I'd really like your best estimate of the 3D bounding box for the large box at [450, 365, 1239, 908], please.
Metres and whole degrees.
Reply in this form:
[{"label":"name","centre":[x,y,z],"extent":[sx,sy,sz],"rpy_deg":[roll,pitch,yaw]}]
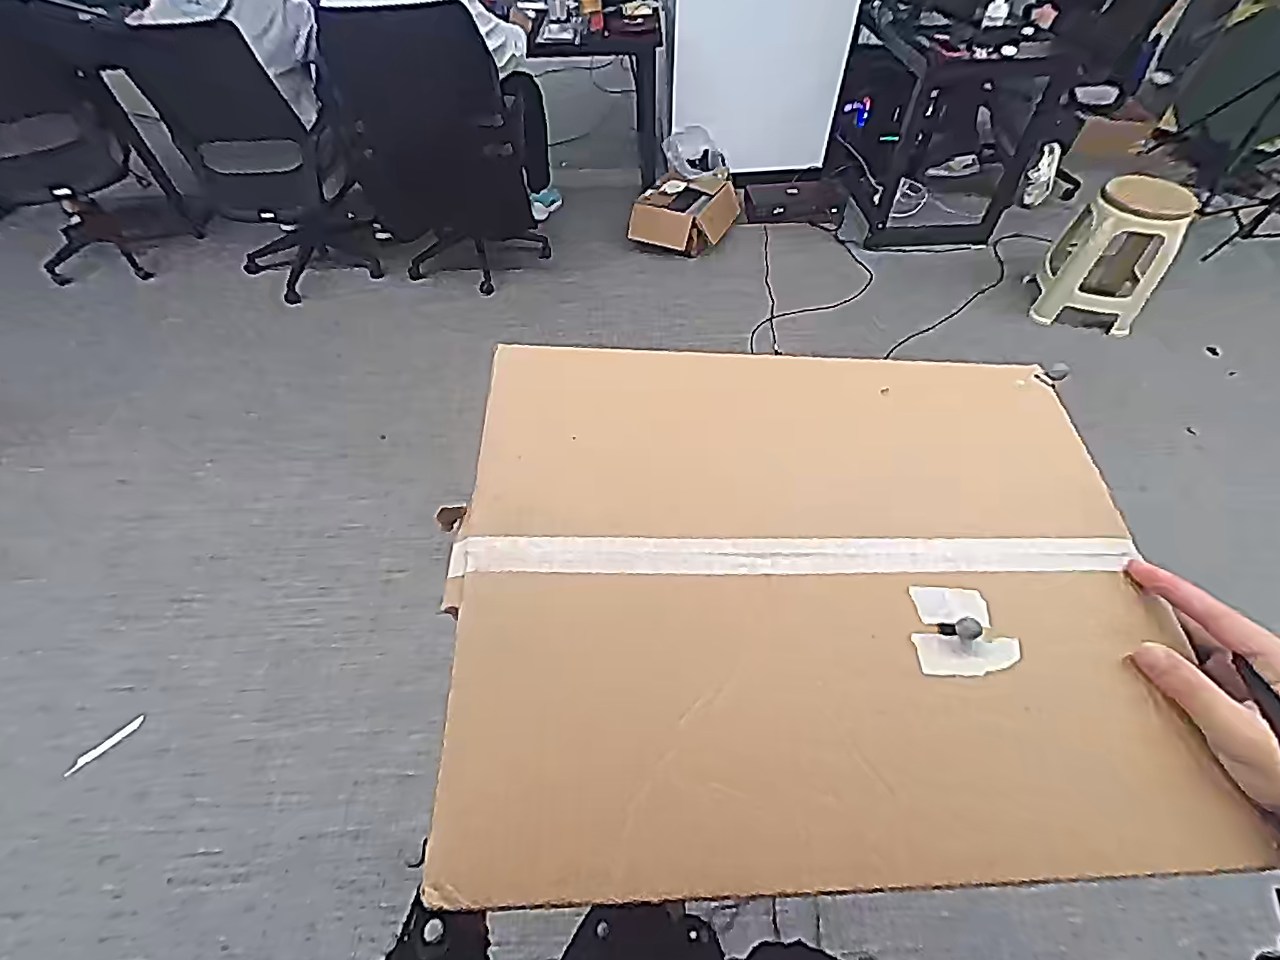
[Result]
[{"label":"large box","centre":[0.089,0.126,0.456],"extent":[0.408,0.320,0.320],"rpy_deg":[1,61,-6]}]
